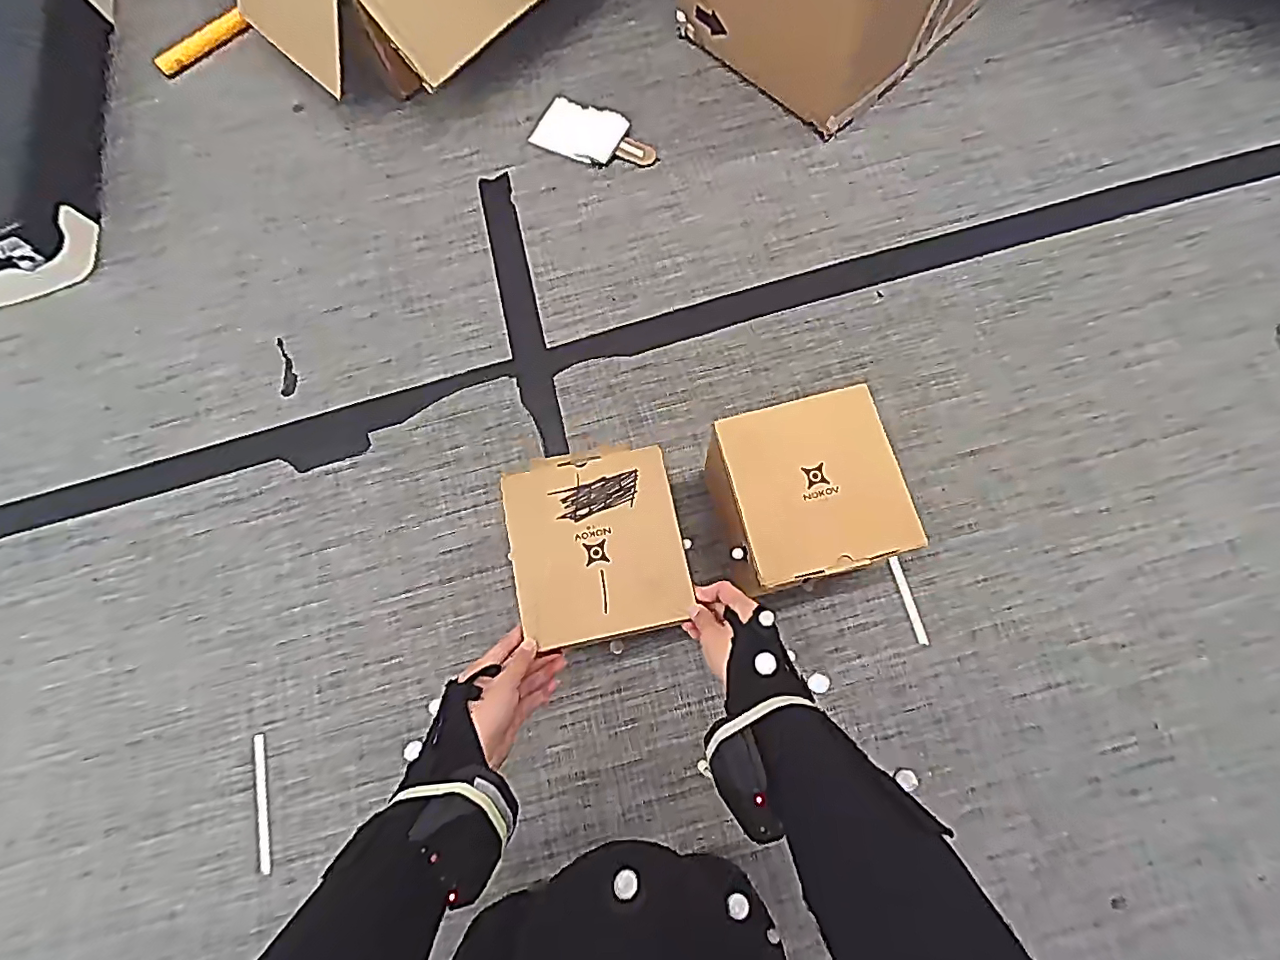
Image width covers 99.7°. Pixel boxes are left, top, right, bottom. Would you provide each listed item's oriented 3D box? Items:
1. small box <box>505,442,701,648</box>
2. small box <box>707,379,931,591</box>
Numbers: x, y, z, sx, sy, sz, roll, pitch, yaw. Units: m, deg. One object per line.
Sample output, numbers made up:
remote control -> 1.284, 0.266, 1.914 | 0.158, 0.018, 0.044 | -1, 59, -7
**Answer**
small box -> -0.038, 0.080, 0.592 | 0.168, 0.176, 0.179 | -12, 75, -2
small box -> 0.178, 0.016, 0.605 | 0.168, 0.176, 0.179 | -15, 75, -1
